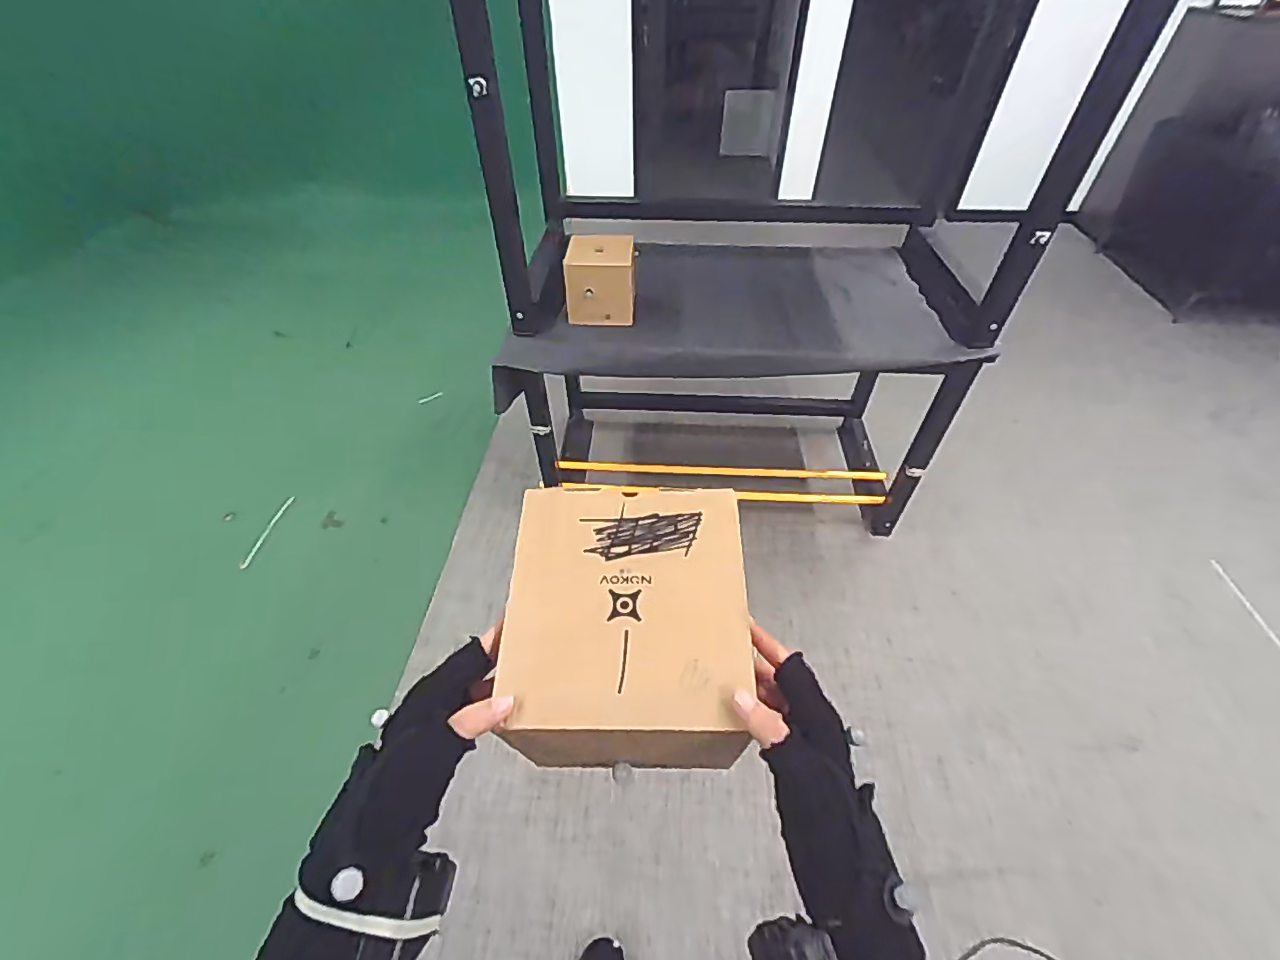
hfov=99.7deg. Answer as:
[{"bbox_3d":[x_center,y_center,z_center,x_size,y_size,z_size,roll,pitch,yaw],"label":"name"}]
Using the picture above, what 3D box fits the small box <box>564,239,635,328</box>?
[{"bbox_3d":[-0.099,-0.510,1.412,0.168,0.176,0.179,1,45,1],"label":"small box"}]
